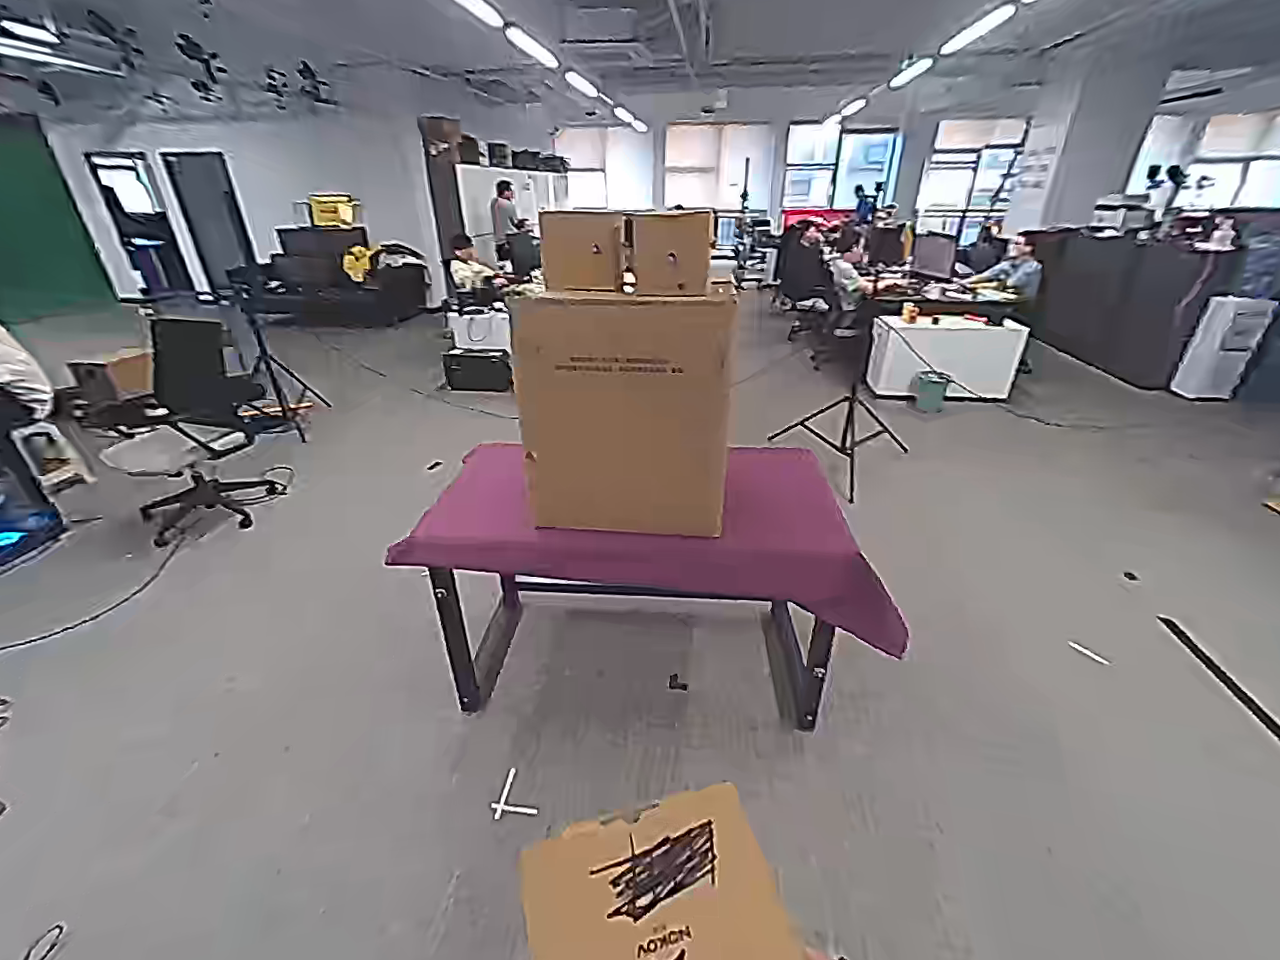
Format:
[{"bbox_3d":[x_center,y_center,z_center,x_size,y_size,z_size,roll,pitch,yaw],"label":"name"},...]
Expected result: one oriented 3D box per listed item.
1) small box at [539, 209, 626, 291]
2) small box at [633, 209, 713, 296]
[{"bbox_3d":[-0.130,-0.556,1.304,0.179,0.176,0.168,3,28,6],"label":"small box"},{"bbox_3d":[0.081,-0.520,1.234,0.168,0.176,0.179,3,28,7],"label":"small box"}]
